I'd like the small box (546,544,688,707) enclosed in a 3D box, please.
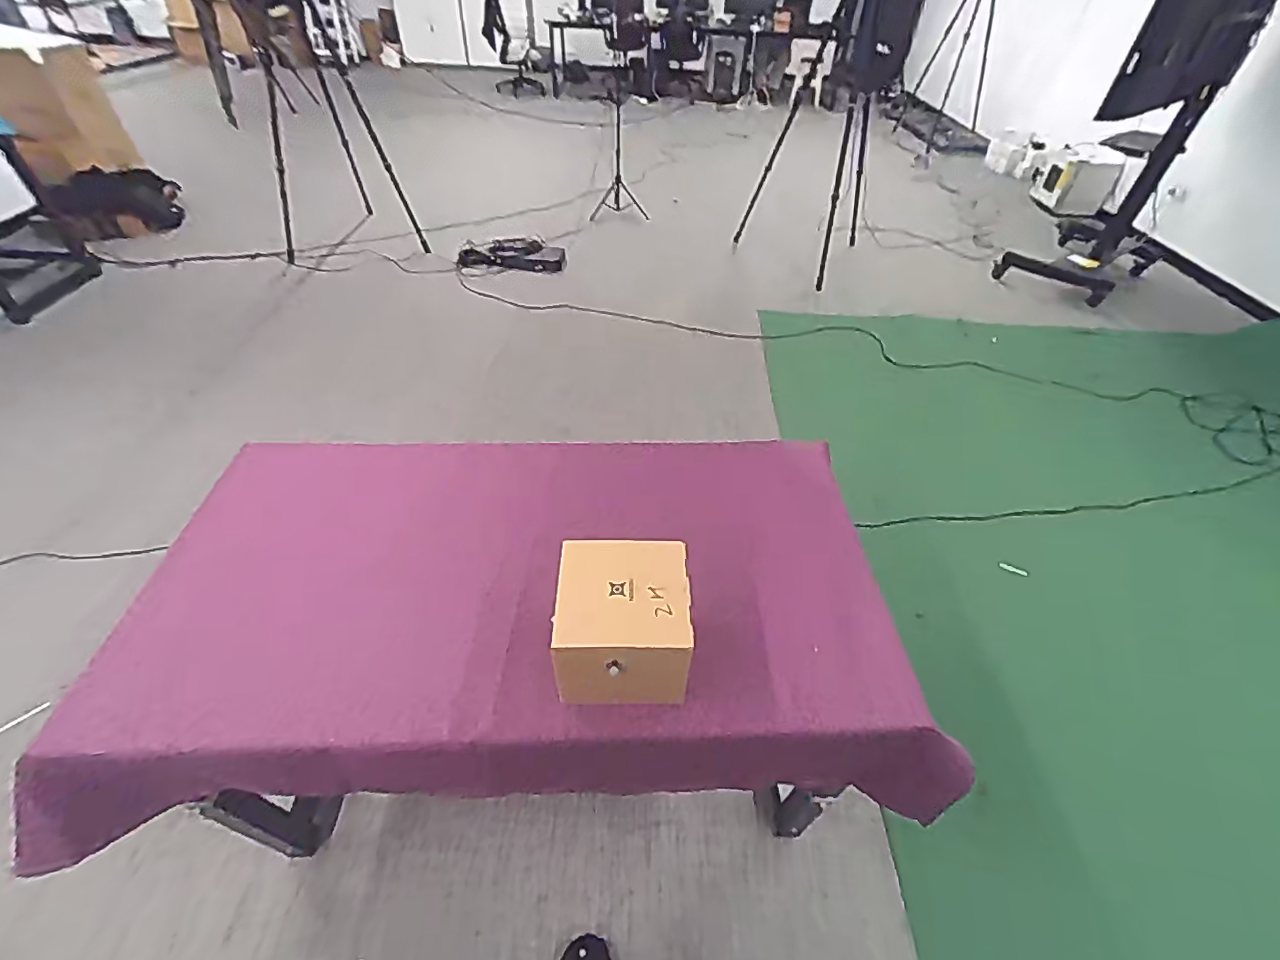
[{"bbox_3d":[-0.028,0.207,0.762,0.179,0.176,0.168,1,45,-1],"label":"small box"}]
